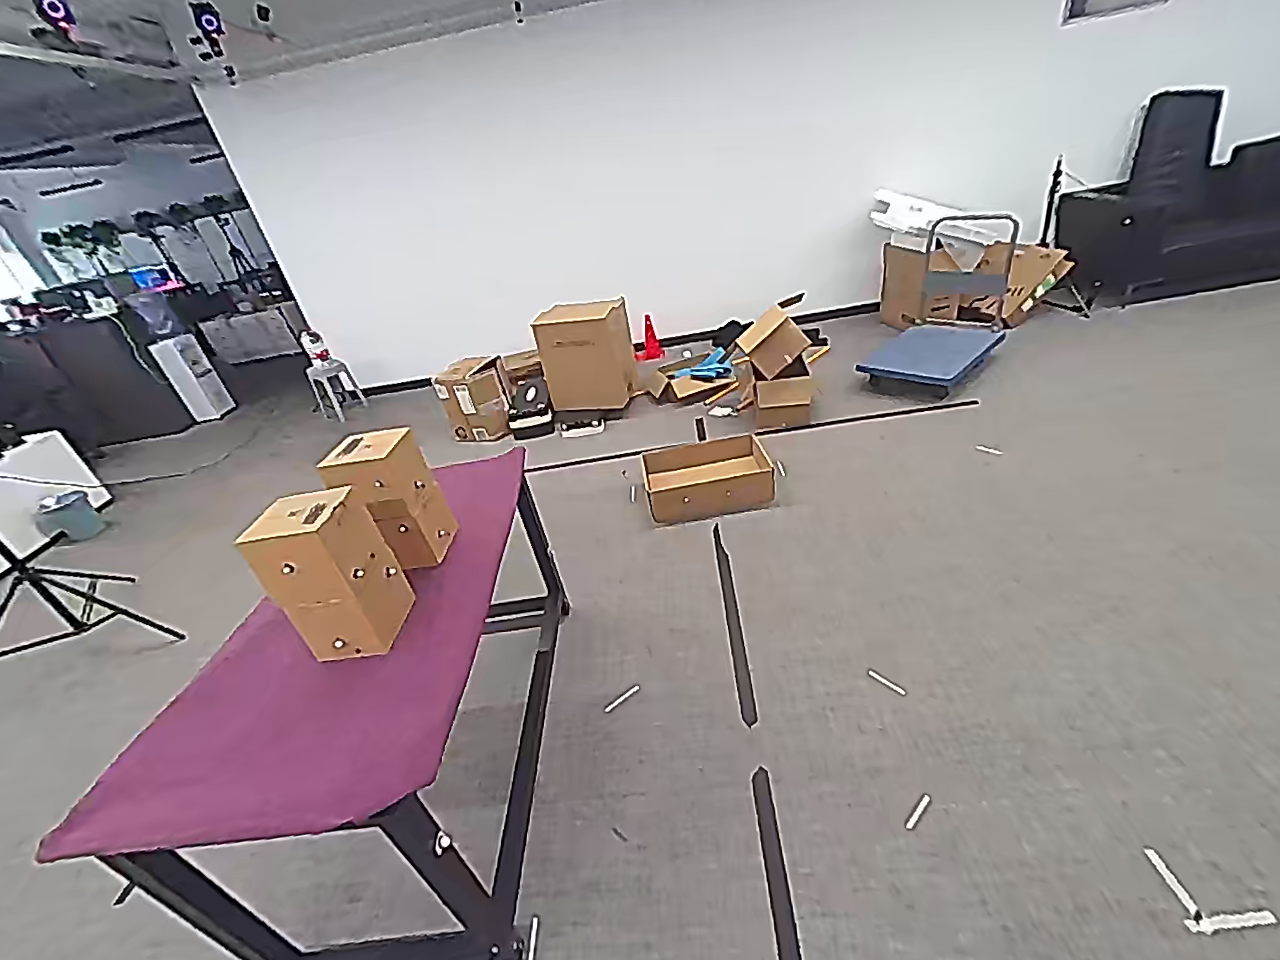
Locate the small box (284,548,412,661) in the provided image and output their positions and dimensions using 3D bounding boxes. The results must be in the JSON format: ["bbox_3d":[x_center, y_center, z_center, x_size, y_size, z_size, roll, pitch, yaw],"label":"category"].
[{"bbox_3d":[-0.640,0.279,1.216,0.168,0.176,0.179,-9,31,6],"label":"small box"}]

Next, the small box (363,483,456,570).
[{"bbox_3d":[-0.625,0.130,1.455,0.179,0.176,0.168,-9,31,6],"label":"small box"}]

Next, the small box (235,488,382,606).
[{"bbox_3d":[-0.677,0.142,1.133,0.179,0.176,0.168,-10,30,5],"label":"small box"}]
